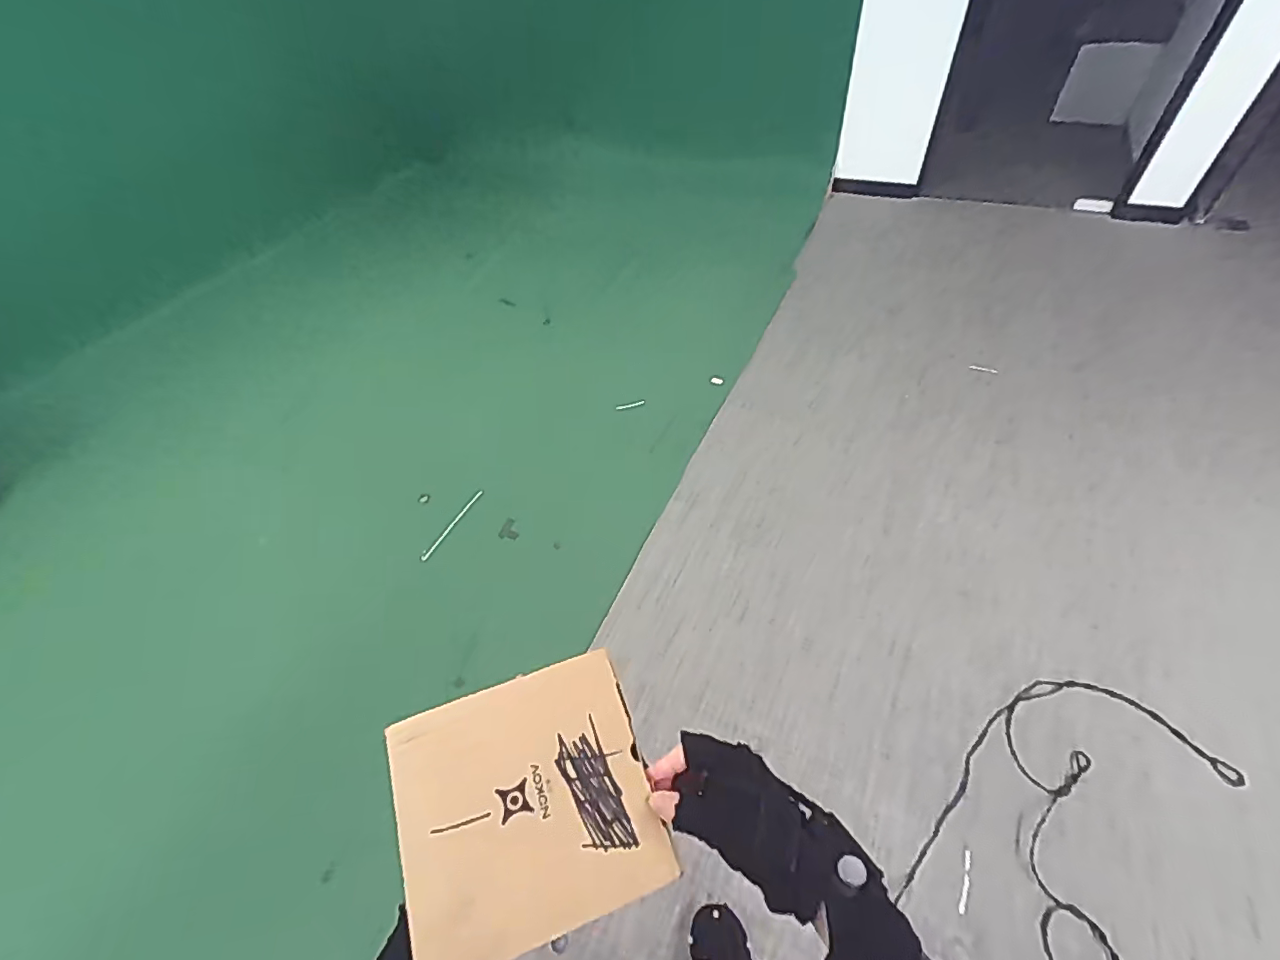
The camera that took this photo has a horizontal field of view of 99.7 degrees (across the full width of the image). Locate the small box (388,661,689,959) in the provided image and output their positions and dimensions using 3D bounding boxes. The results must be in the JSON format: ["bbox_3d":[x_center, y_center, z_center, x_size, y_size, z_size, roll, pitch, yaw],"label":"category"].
[{"bbox_3d":[-0.080,0.271,0.439,0.179,0.176,0.168,-16,60,-13],"label":"small box"}]
